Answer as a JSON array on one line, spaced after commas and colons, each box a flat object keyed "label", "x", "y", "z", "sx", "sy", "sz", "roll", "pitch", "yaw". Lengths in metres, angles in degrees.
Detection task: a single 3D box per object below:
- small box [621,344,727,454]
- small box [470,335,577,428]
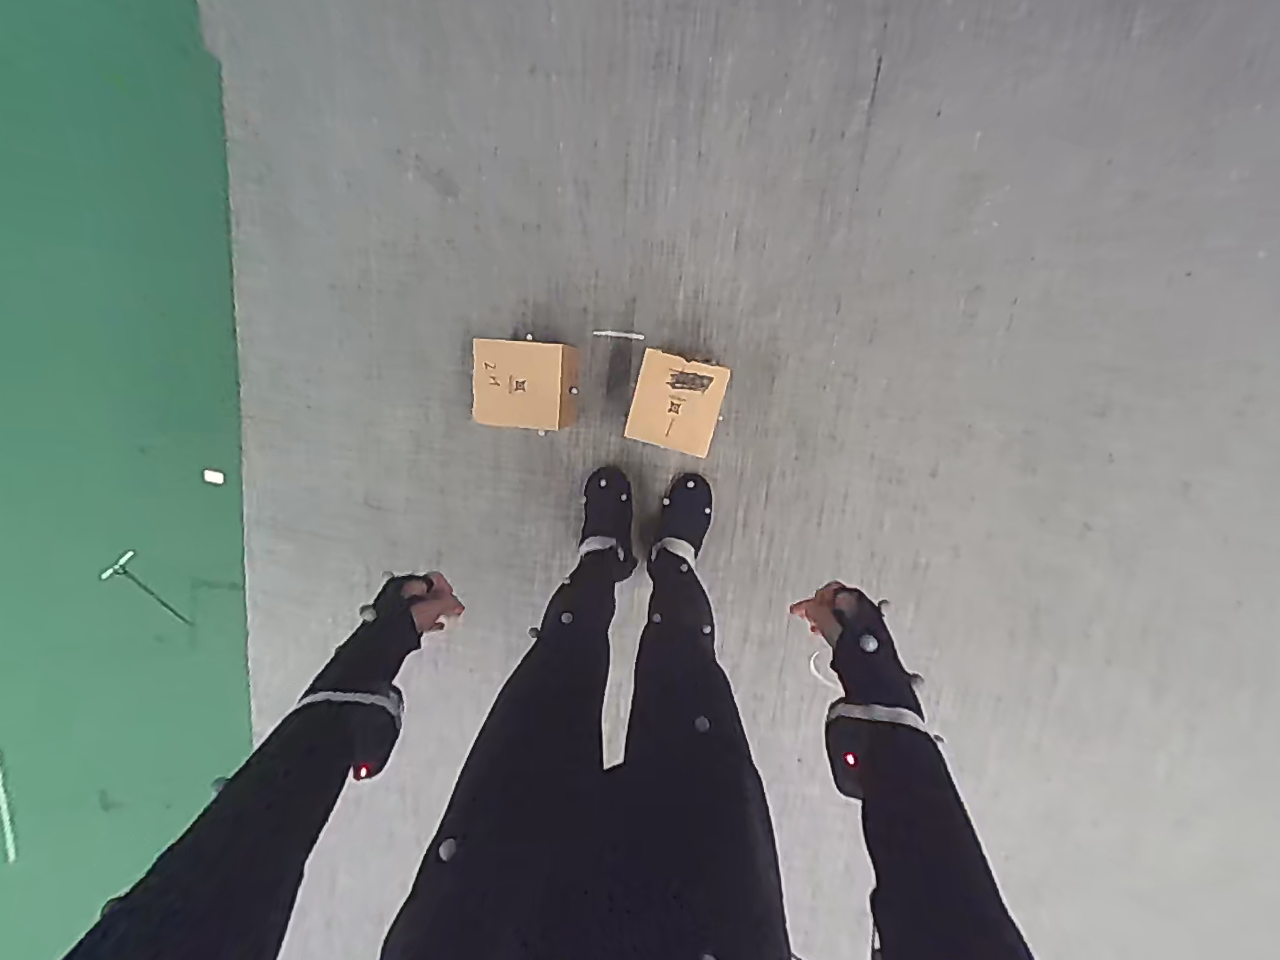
[{"label": "small box", "x": 0.068, "y": -0.167, "z": 1.098, "sx": 0.168, "sy": 0.176, "sz": 0.179, "roll": 15, "pitch": 103, "yaw": 2}, {"label": "small box", "x": -0.233, "y": -0.205, "z": 1.114, "sx": 0.179, "sy": 0.176, "sz": 0.168, "roll": 6, "pitch": 102, "yaw": 5}]
